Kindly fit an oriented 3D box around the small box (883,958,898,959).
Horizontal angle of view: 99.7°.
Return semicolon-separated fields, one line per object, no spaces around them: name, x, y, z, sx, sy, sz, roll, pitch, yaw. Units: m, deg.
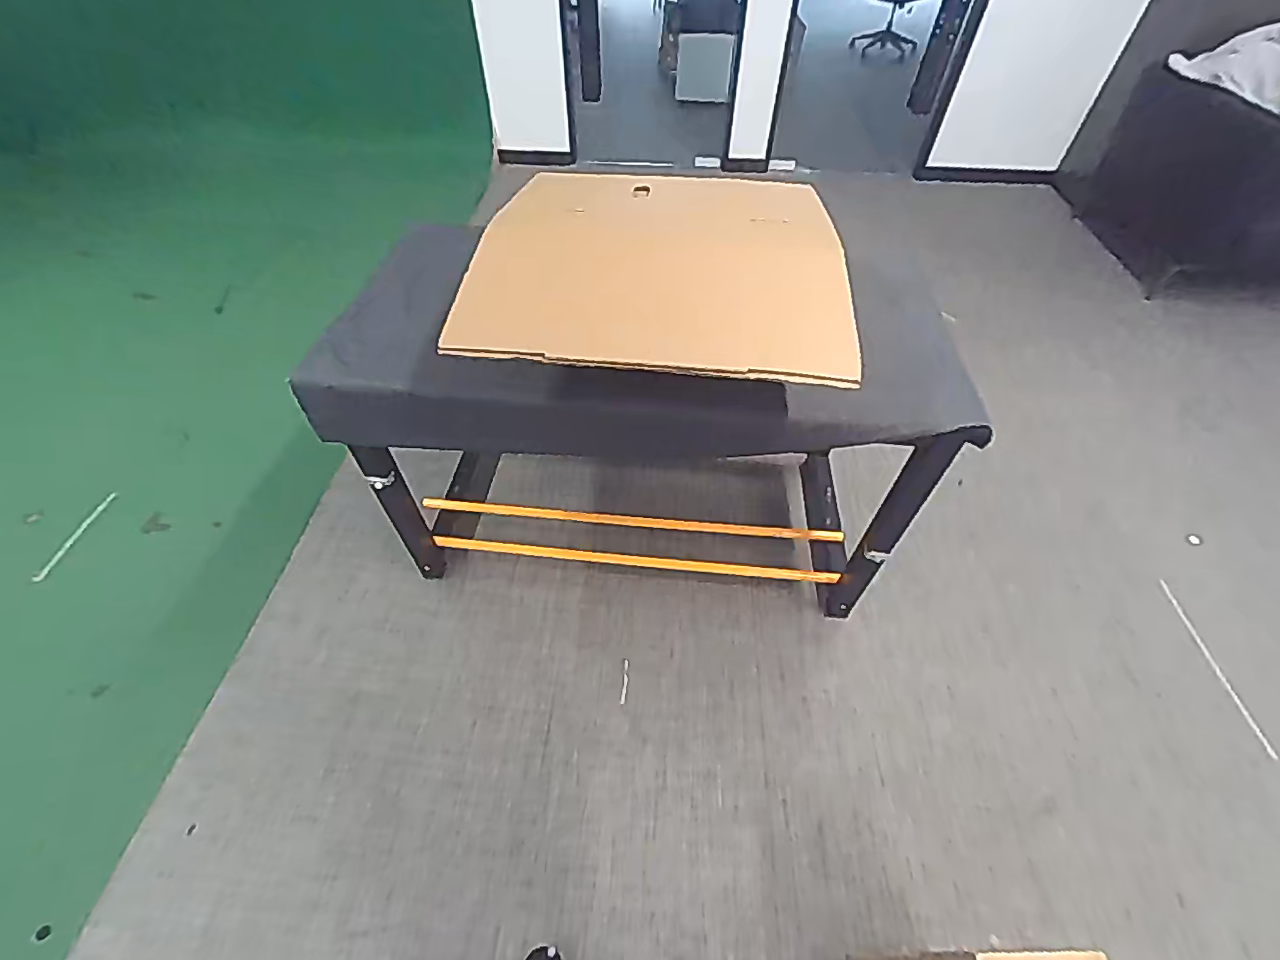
small box;0.478;0.921;0.906;0.168;0.176;0.179;0;49;-1

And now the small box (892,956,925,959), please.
small box;0.486;0.807;0.790;0.179;0.176;0.168;-1;48;-1

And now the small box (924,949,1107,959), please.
small box;0.488;0.697;0.667;0.168;0.176;0.179;0;48;-1
